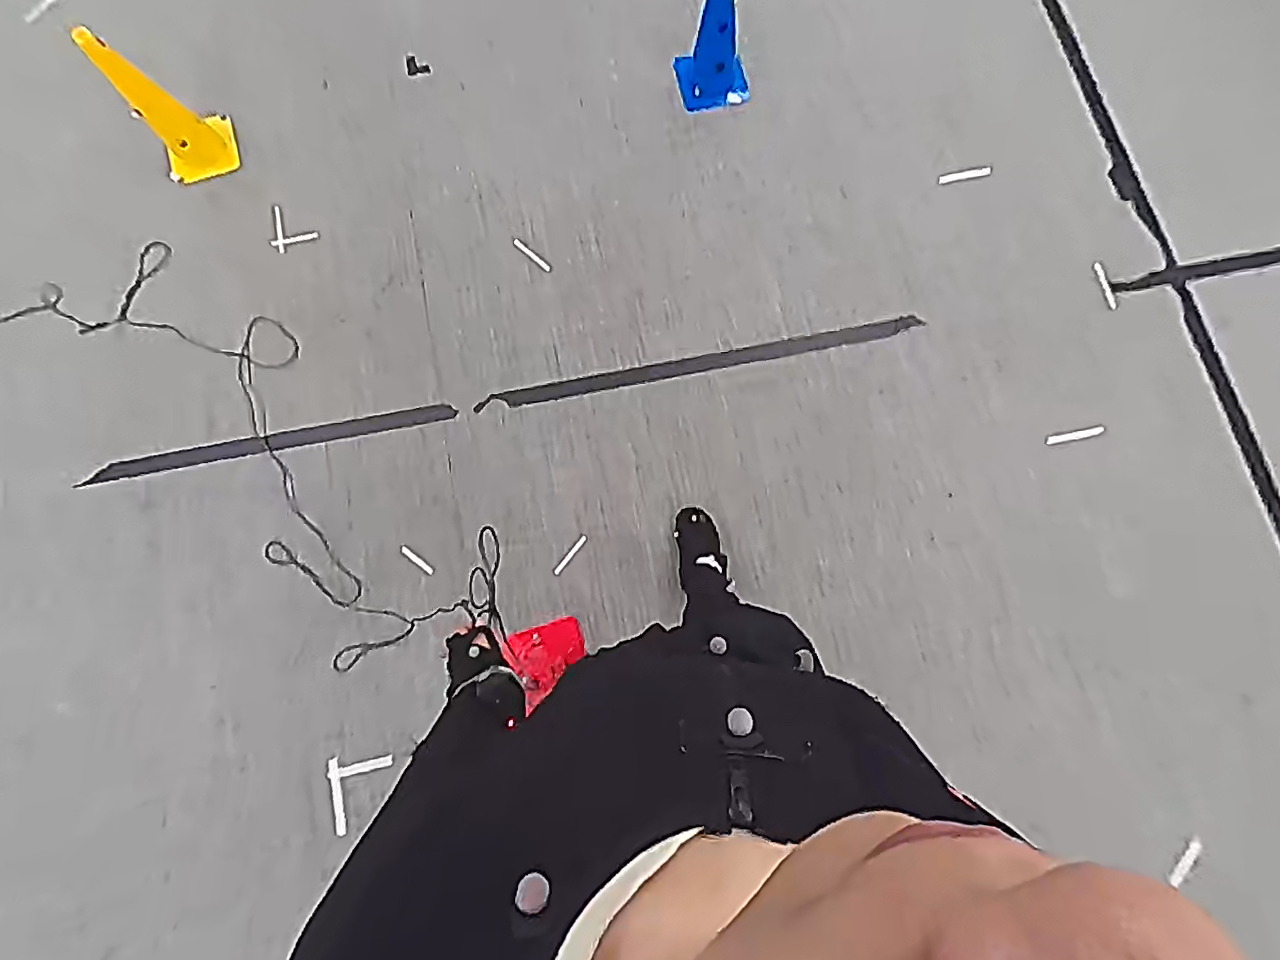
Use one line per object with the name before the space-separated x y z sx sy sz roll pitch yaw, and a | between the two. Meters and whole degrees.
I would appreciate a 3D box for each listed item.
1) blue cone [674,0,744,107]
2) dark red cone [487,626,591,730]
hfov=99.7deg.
blue cone | 0.203 -1.237 1.458 0.193 0.380 0.192 -10 78 -1
dark red cone | -0.236 0.435 1.126 0.202 0.394 0.201 -19 78 -2
